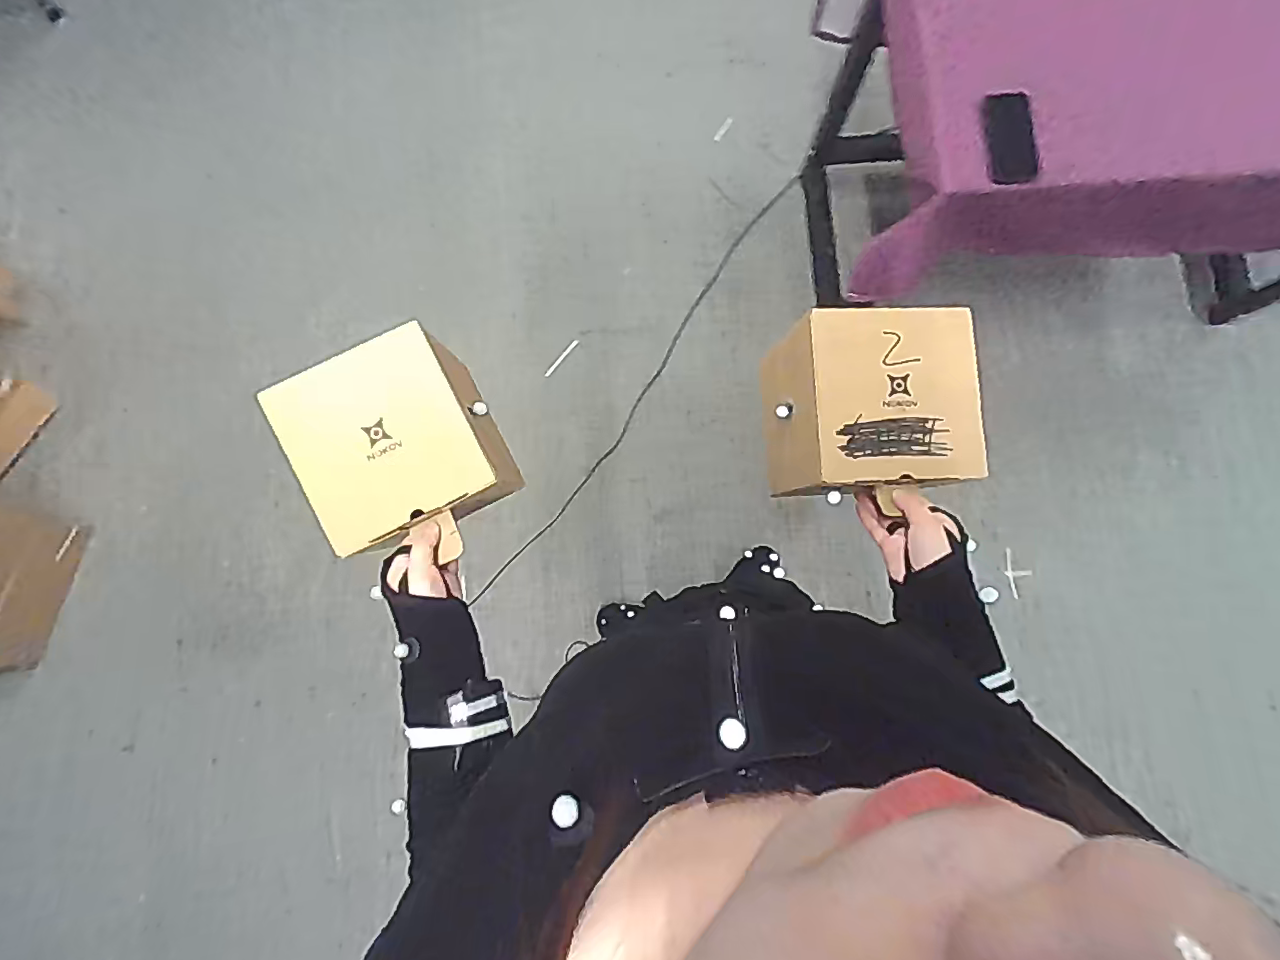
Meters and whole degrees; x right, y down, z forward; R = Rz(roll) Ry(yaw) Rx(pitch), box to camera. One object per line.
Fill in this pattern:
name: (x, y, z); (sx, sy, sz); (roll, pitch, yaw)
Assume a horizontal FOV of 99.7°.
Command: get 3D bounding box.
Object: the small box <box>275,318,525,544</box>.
small box: (-0.245, -0.045, 0.598); (0.168, 0.176, 0.179); (-26, 90, -3)
